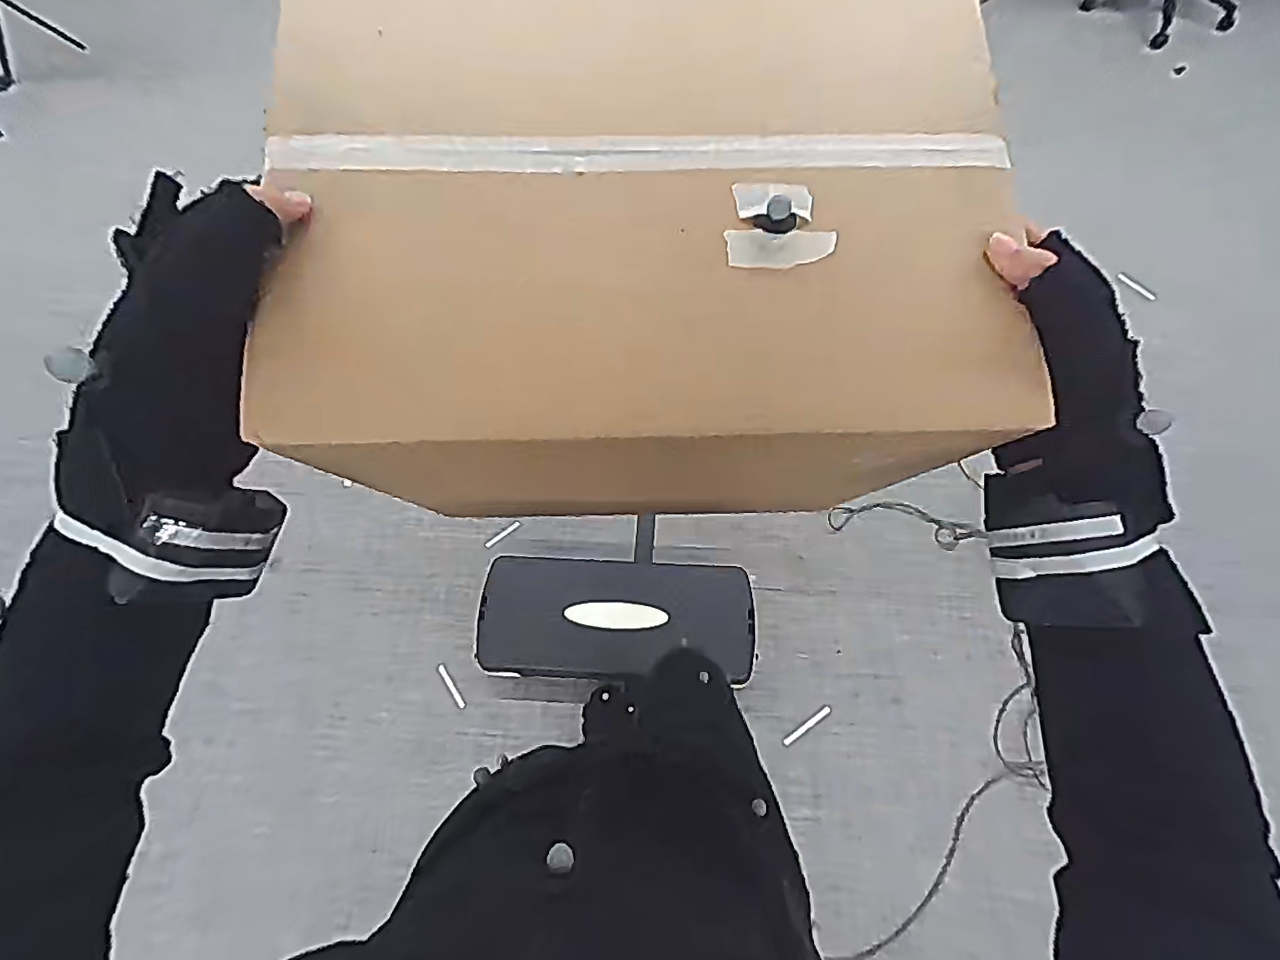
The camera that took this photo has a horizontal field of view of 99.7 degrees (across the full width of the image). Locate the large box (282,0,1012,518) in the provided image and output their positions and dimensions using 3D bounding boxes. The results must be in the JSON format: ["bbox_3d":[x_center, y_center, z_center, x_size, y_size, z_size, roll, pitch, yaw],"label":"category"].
[{"bbox_3d":[-0.003,-0.145,0.465,0.408,0.320,0.320,-1,79,-2],"label":"large box"}]
